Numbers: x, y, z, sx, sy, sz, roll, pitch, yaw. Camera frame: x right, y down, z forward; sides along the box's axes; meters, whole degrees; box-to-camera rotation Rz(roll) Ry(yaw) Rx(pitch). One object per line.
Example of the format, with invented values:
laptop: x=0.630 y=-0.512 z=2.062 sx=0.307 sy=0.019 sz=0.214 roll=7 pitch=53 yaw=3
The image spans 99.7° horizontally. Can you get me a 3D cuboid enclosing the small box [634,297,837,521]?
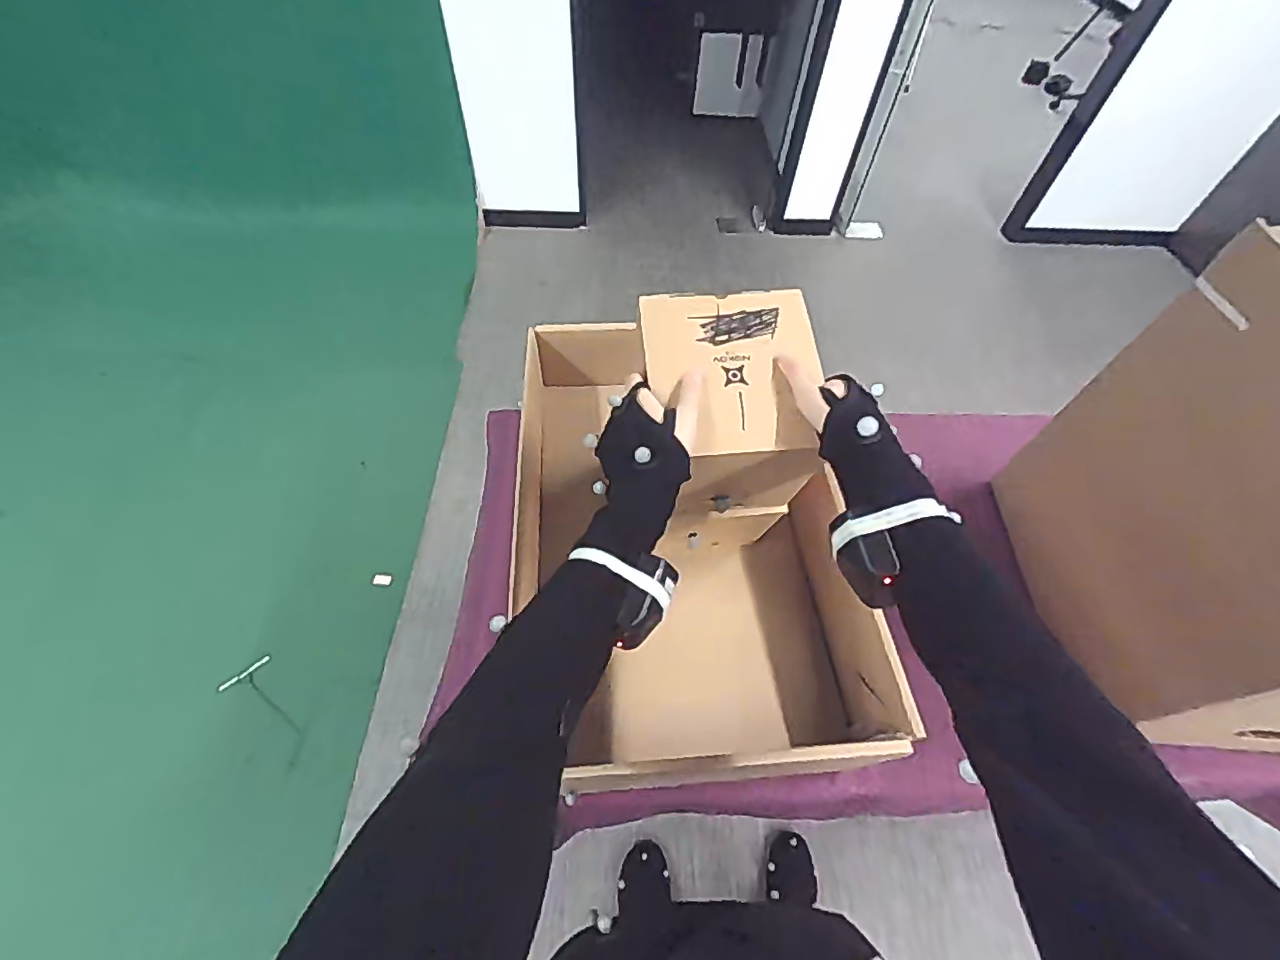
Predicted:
small box: x=0.083 y=-0.068 z=0.577 sx=0.168 sy=0.176 sz=0.179 roll=-5 pitch=70 yaw=-4

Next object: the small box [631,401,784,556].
small box: x=0.078 y=0.000 z=0.728 sx=0.168 sy=0.176 sz=0.179 roll=-5 pitch=69 yaw=-5
